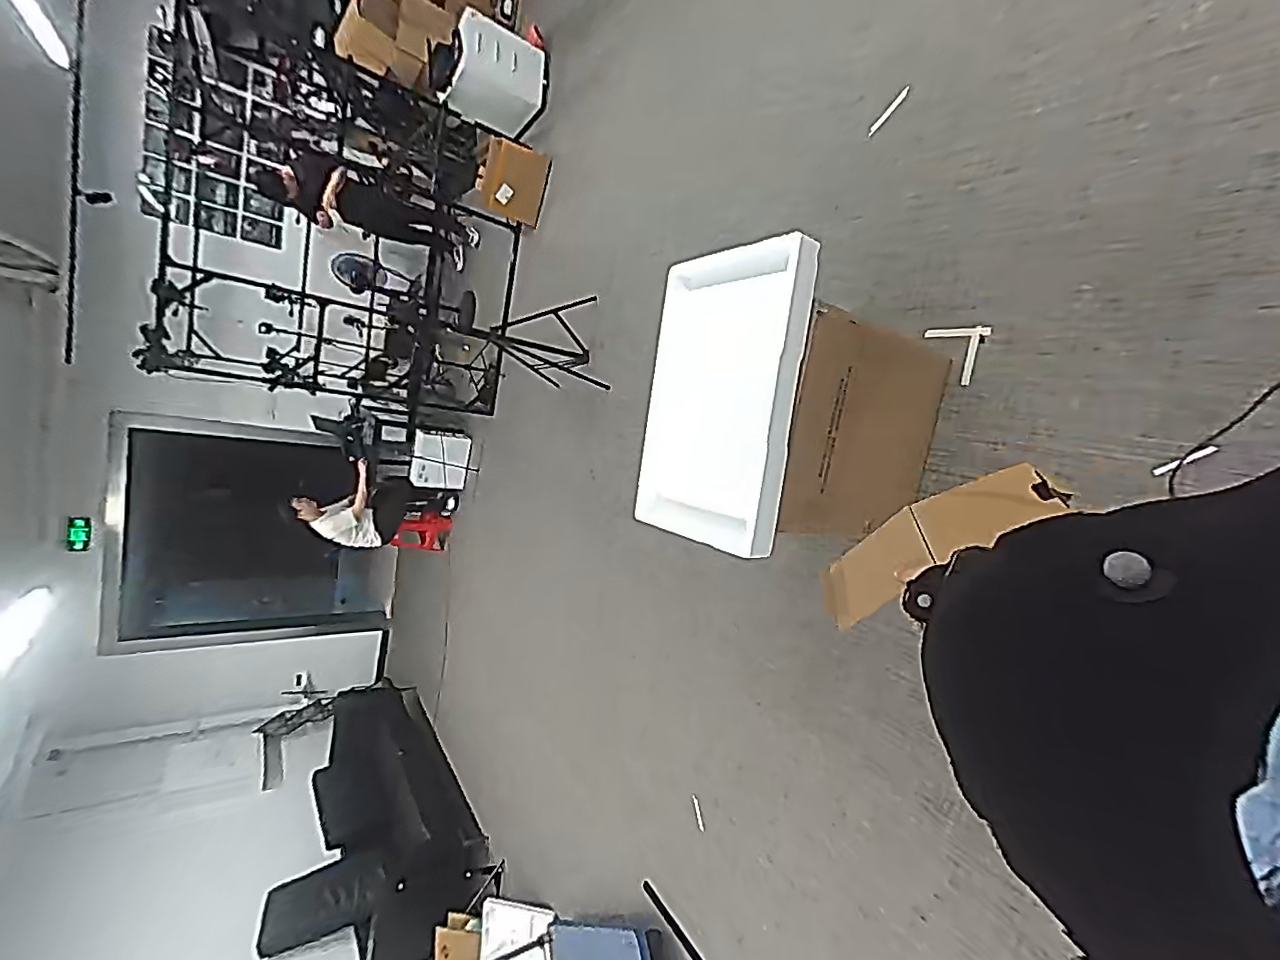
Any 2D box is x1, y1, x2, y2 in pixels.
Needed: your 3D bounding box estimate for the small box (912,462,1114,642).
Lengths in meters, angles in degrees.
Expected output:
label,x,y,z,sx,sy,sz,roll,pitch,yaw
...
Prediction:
label,x,y,z,sx,sy,sz,roll,pitch,yaw
small box,0.531,0.108,0.786,0.179,0.176,0.168,-25,20,25
